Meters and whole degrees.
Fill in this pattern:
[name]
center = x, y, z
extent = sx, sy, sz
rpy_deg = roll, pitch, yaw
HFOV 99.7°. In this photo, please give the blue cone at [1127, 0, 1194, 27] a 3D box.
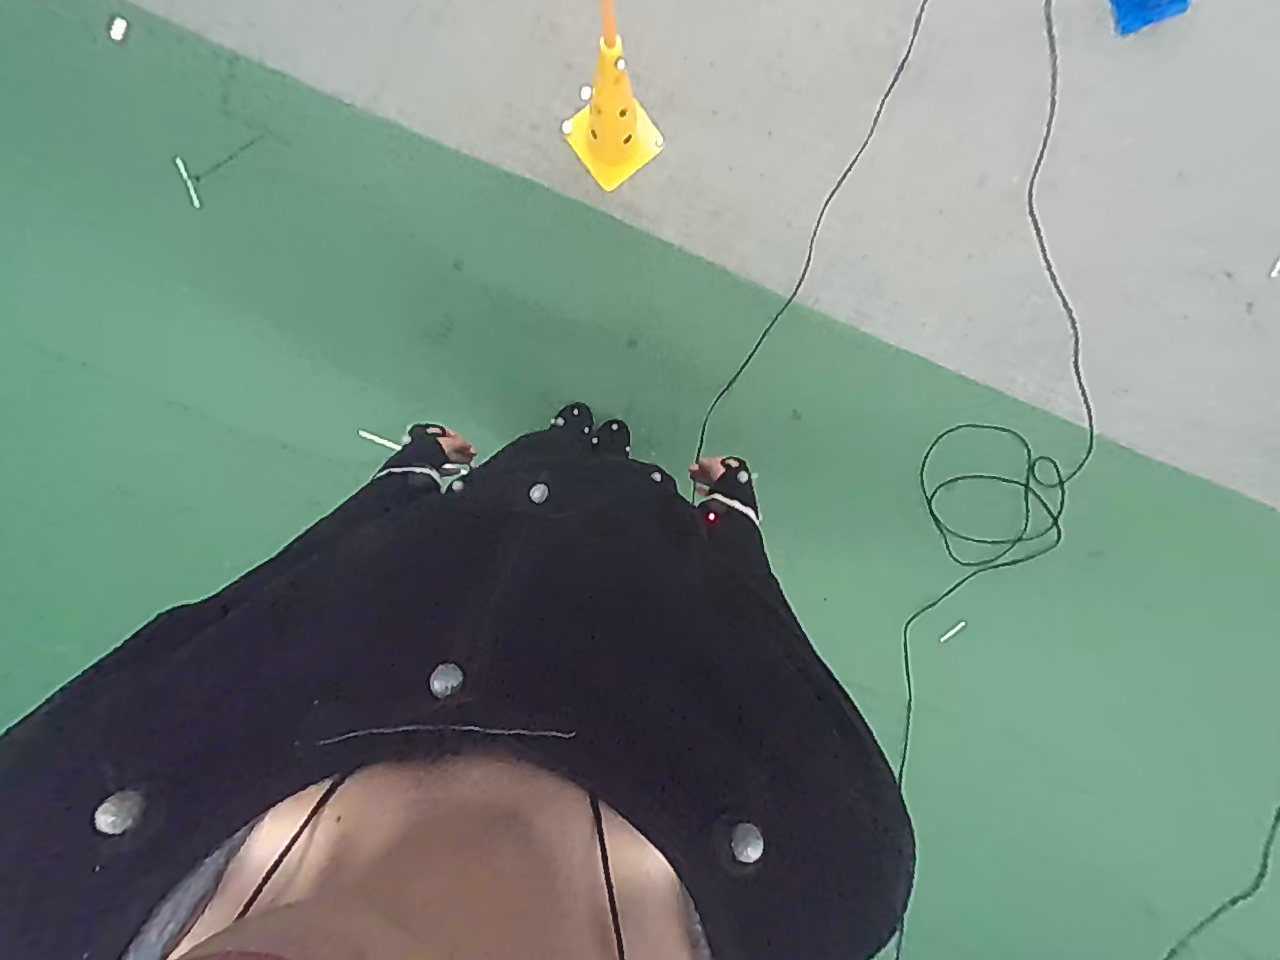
[blue cone]
center = 1.331, -1.265, 1.214
extent = 0.193, 0.380, 0.192
rpy_deg = -23, 96, -2
